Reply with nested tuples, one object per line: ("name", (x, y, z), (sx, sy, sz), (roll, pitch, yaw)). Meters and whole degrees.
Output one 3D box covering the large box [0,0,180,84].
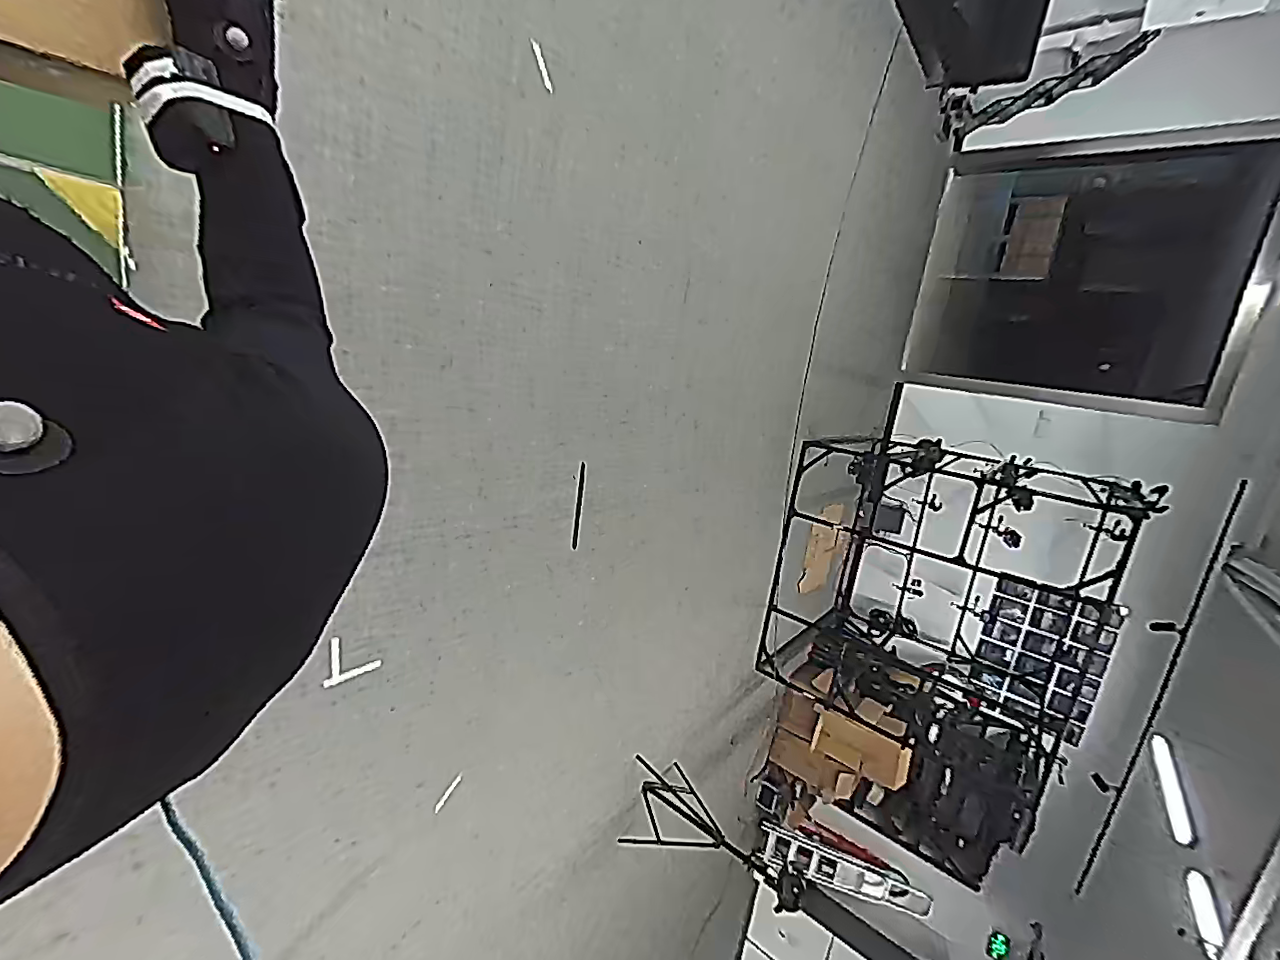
("large box", (-0.566, -0.476, 0.295), (0.408, 0.320, 0.320), (-14, 123, -51))
